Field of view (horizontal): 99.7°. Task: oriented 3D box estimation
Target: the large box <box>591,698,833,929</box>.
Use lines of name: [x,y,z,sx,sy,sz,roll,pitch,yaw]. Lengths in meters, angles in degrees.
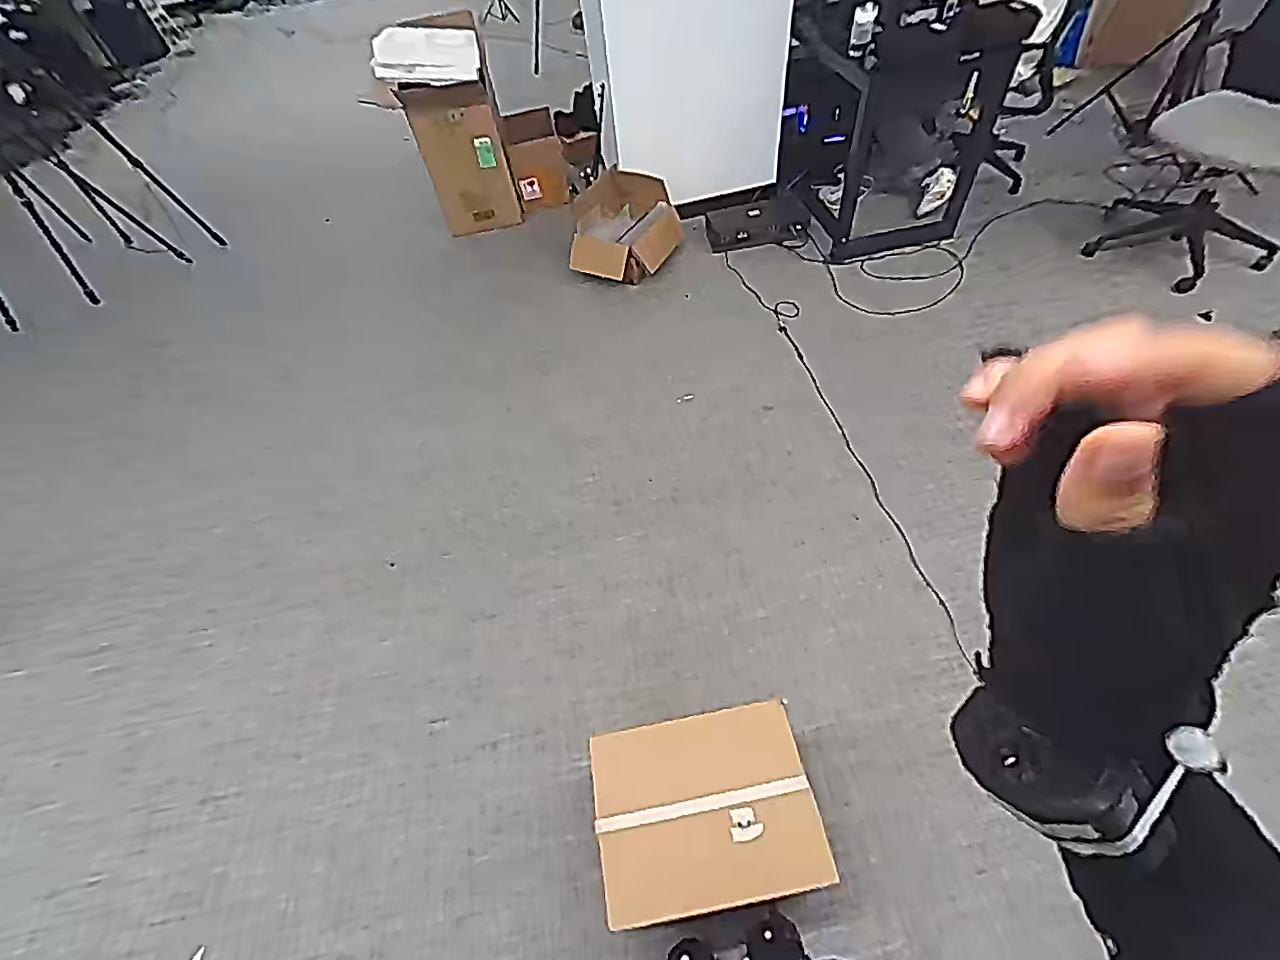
large box: [0.131,0.703,1.139,0.408,0.320,0.320,-11,52,-2]
